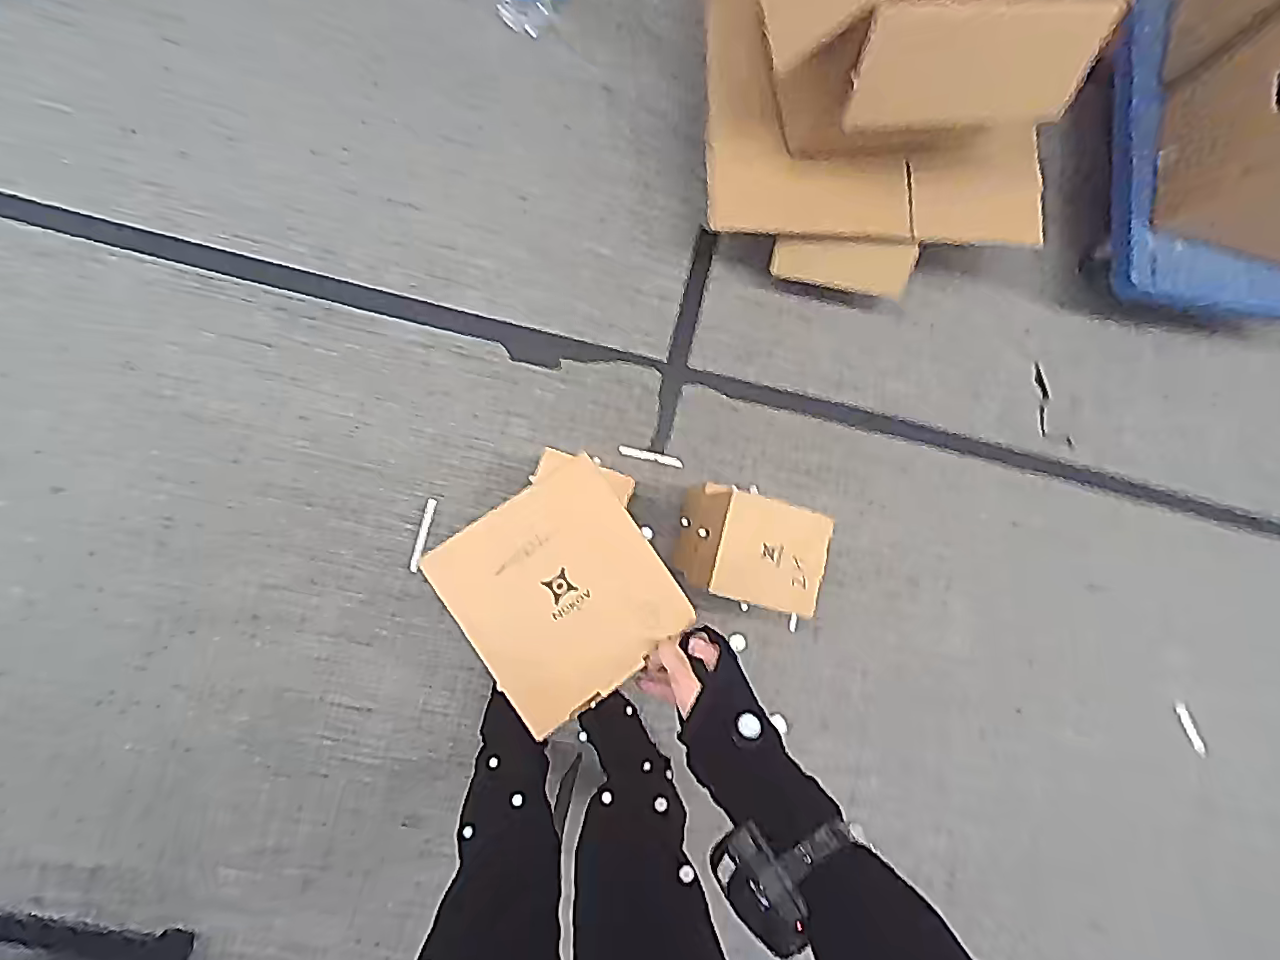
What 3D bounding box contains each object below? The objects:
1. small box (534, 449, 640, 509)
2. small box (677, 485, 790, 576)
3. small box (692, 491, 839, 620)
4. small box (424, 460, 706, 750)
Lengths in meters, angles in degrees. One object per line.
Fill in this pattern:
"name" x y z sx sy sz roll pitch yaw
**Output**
"small box" -0.117 0.056 1.049 0.179 0.176 0.168 20 83 -6
"small box" 0.179 0.117 1.082 0.168 0.176 0.179 14 84 -7
"small box" 0.201 0.123 0.918 0.179 0.176 0.168 16 85 -7
"small box" -0.069 0.107 0.513 0.168 0.176 0.179 -35 88 -14
